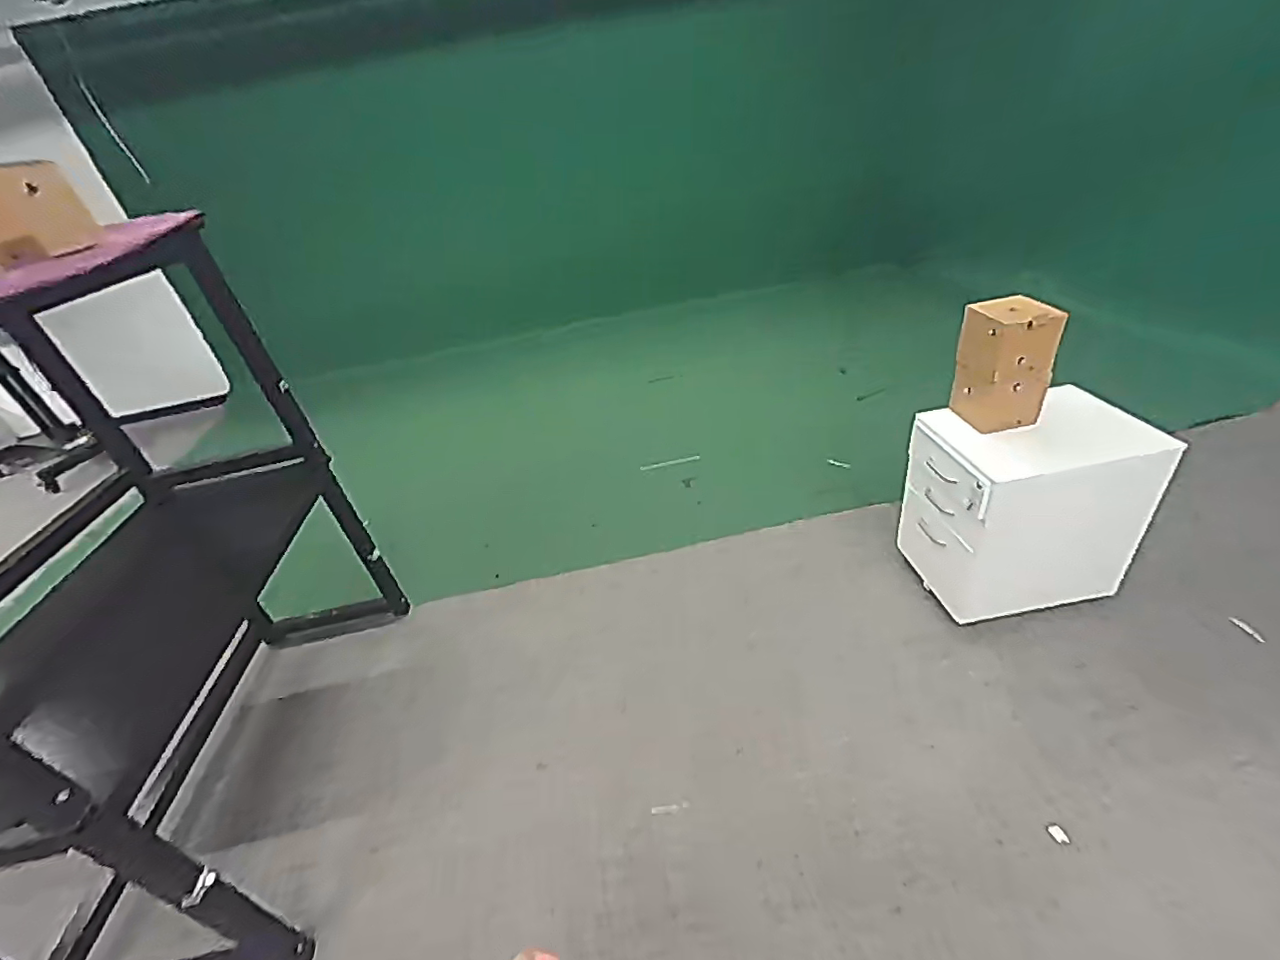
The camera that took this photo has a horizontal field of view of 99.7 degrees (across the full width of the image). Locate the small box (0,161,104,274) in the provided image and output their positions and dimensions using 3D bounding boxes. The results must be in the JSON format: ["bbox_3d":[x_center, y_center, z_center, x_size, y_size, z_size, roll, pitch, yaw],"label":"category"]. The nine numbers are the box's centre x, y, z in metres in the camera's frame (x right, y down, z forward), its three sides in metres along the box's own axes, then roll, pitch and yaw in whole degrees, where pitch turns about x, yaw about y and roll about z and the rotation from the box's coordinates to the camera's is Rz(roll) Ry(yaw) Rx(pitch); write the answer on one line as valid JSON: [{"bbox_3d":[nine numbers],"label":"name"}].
[{"bbox_3d":[-1.284,-0.535,1.110,0.168,0.176,0.179,-14,34,1],"label":"small box"}]

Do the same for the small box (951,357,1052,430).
[{"bbox_3d":[1.051,-0.267,1.590,0.168,0.176,0.179,-12,35,-1],"label":"small box"}]

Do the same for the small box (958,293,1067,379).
[{"bbox_3d":[1.019,-0.400,1.501,0.168,0.176,0.179,-11,36,-1],"label":"small box"}]
